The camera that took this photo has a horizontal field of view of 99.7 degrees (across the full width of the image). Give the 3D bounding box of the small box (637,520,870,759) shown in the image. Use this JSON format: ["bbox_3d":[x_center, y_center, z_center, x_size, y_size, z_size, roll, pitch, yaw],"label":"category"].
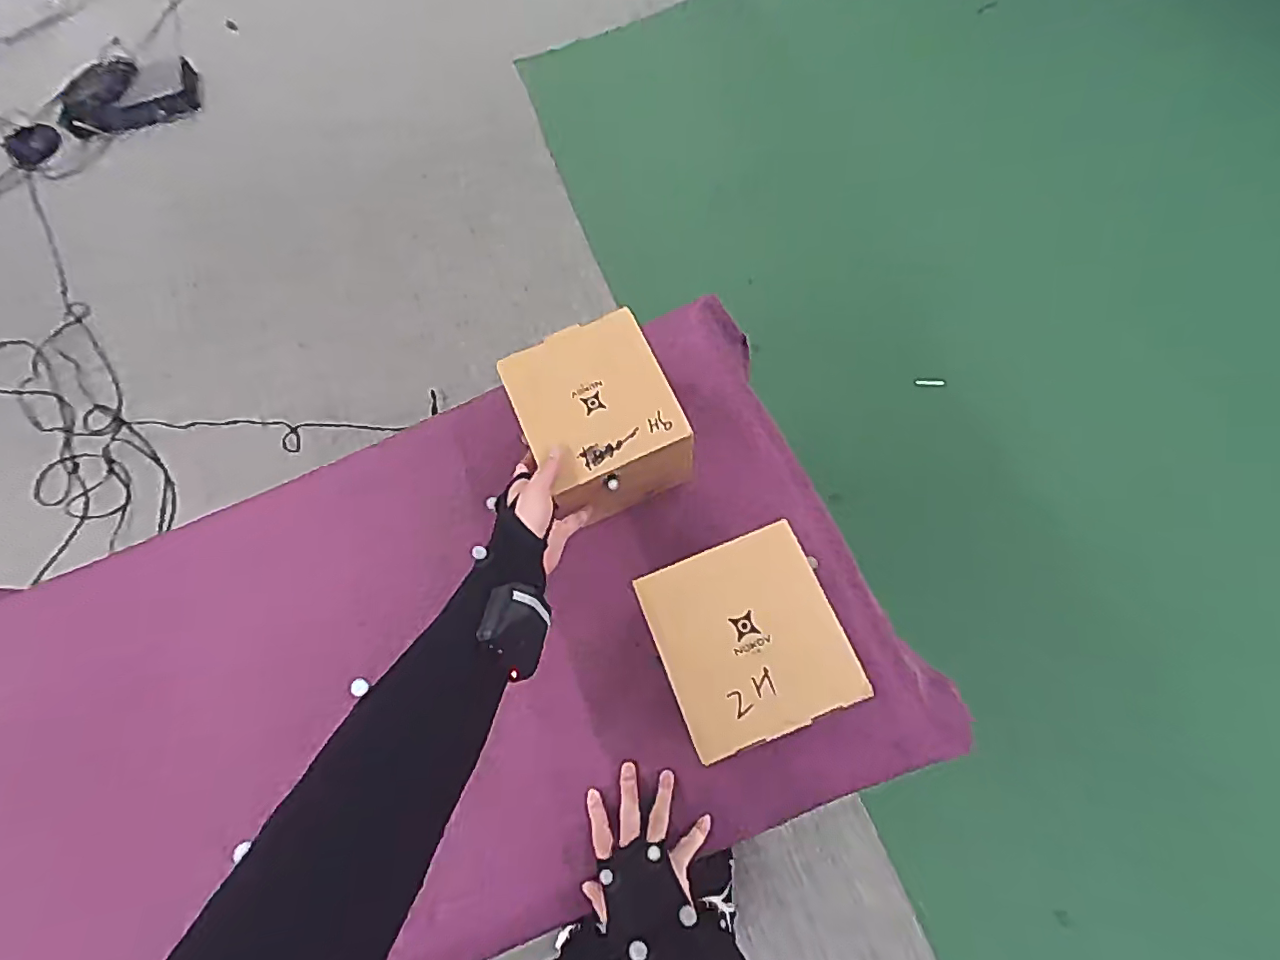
[{"bbox_3d":[0.107,0.167,0.576,0.168,0.176,0.179,-21,71,-1],"label":"small box"}]

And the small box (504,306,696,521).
[{"bbox_3d":[-0.043,-0.071,0.665,0.168,0.176,0.179,-24,73,-3],"label":"small box"}]
